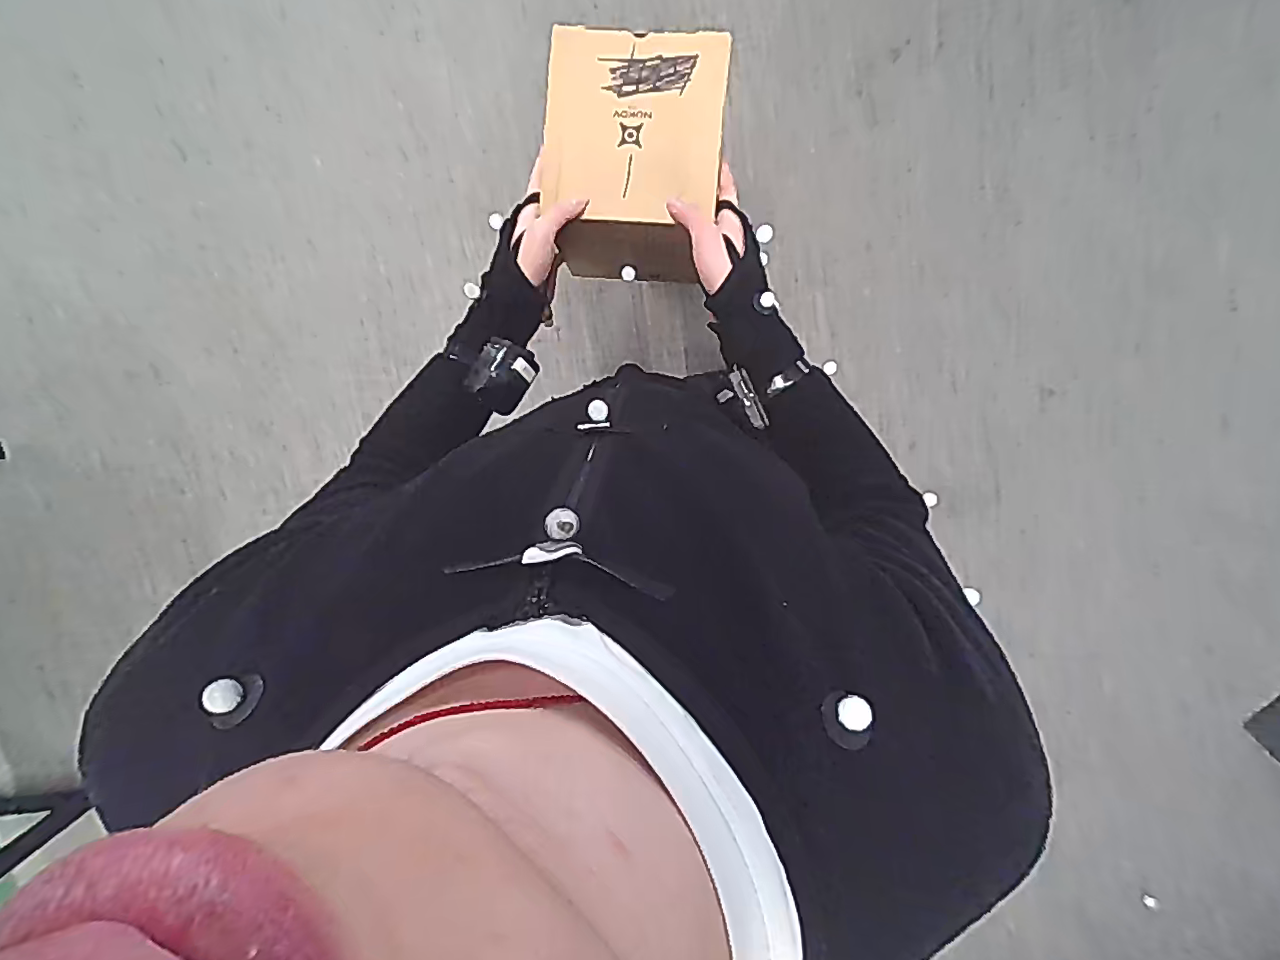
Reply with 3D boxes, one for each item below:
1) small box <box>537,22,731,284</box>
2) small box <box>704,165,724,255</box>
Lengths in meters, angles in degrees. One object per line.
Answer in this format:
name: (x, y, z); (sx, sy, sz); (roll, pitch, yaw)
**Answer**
small box: (-0.004, -0.330, 0.578); (0.168, 0.176, 0.179); (6, 93, 3)
small box: (0.085, -0.599, 1.210); (0.179, 0.176, 0.168); (-7, 100, 2)
